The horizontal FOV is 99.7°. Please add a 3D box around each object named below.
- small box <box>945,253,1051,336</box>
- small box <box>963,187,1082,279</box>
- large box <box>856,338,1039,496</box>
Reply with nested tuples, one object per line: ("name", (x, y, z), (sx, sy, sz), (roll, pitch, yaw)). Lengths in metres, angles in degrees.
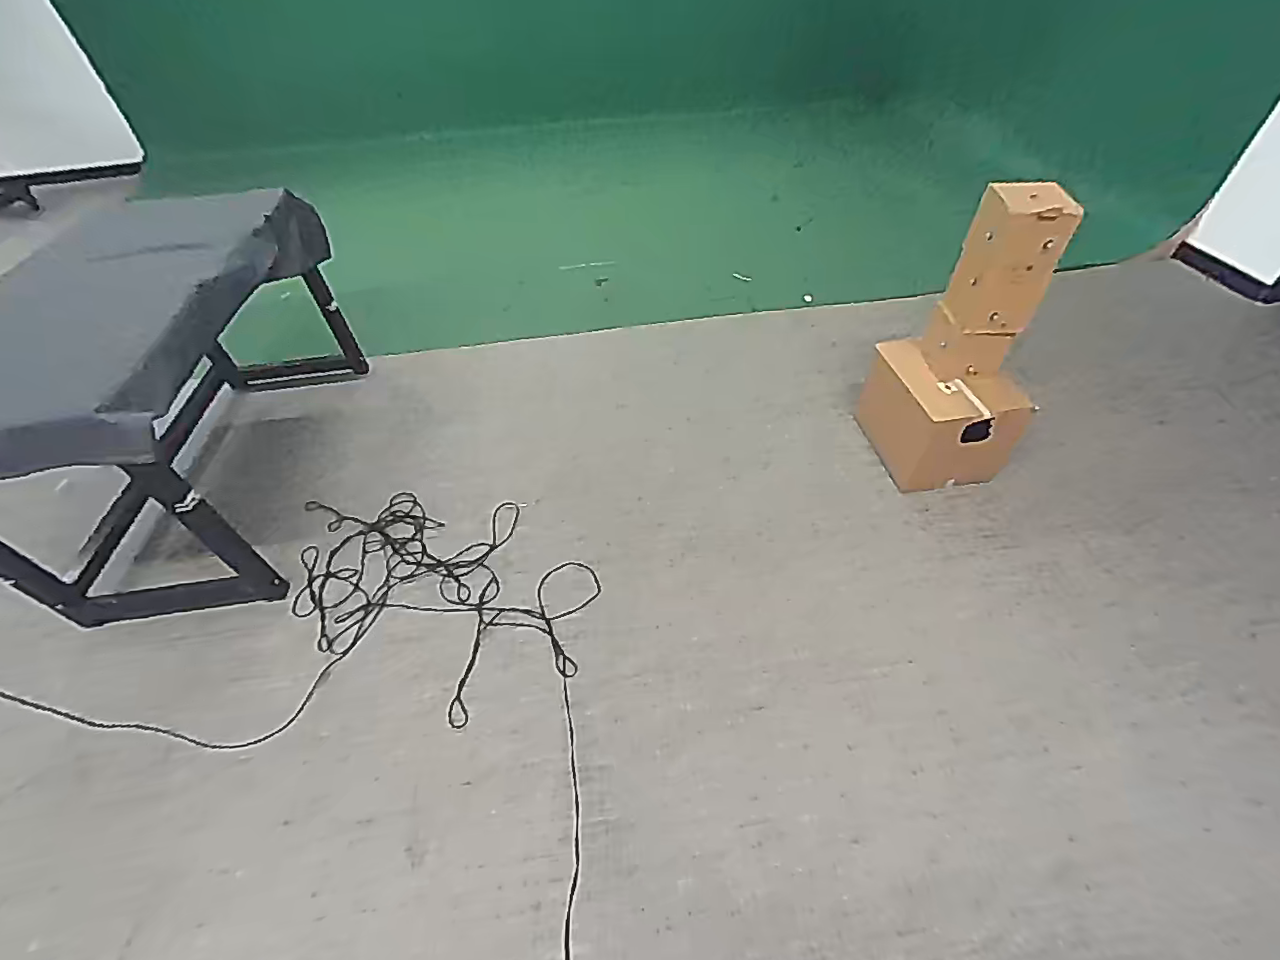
("small box", (0.985, -0.523, 1.509), (0.168, 0.176, 0.179), (0, 49, 4))
("small box", (0.971, -0.633, 1.391), (0.168, 0.176, 0.179), (2, 48, 4))
("large box", (0.969, -0.211, 1.777), (0.320, 0.320, 0.408), (-9, 48, -3))
